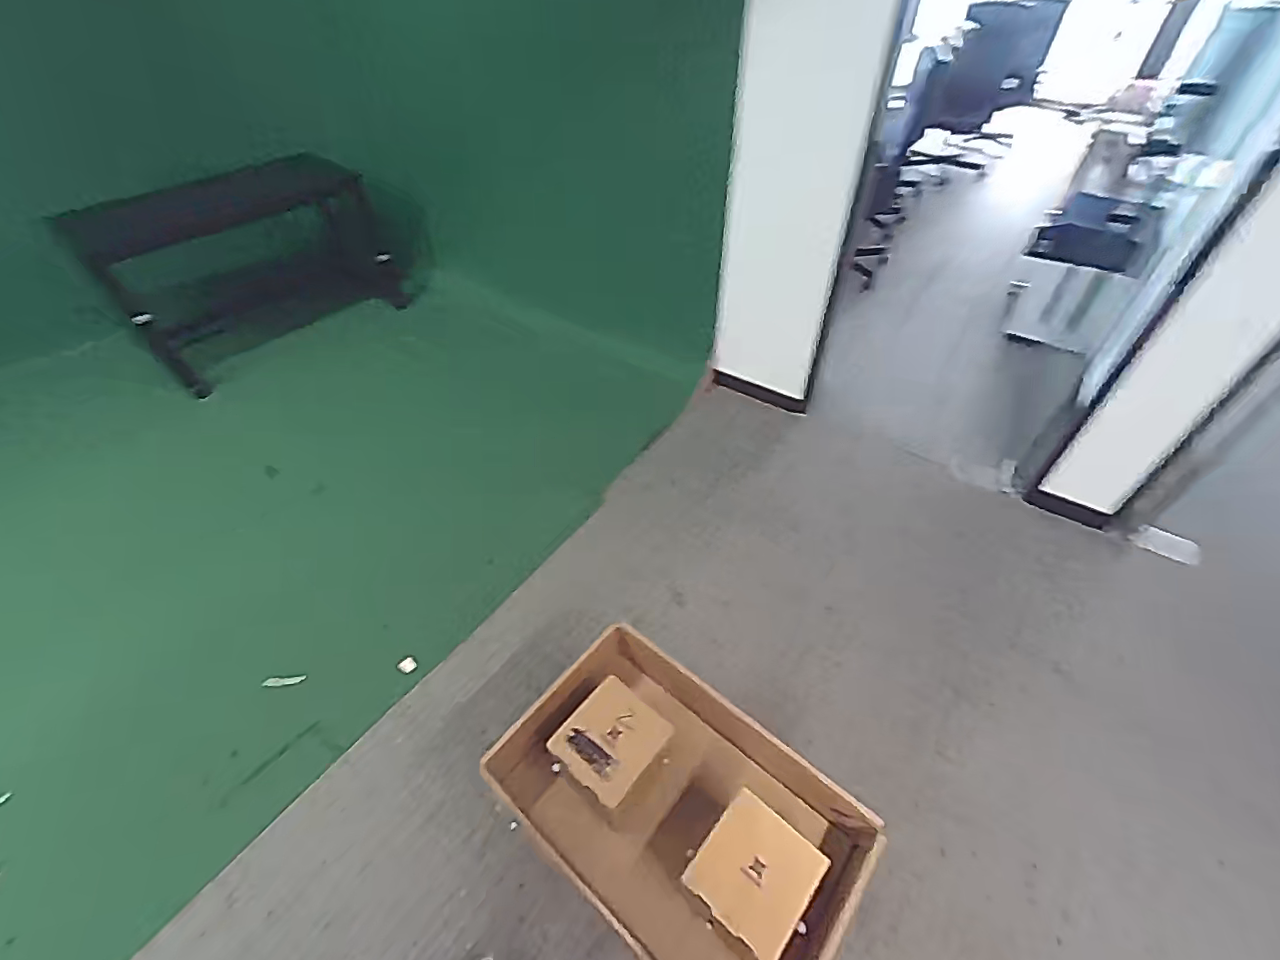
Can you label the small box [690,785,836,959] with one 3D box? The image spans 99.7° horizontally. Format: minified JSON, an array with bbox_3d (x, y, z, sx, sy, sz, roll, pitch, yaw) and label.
[{"bbox_3d":[0.194,0.658,0.900,0.168,0.176,0.179,32,57,28],"label":"small box"}]
